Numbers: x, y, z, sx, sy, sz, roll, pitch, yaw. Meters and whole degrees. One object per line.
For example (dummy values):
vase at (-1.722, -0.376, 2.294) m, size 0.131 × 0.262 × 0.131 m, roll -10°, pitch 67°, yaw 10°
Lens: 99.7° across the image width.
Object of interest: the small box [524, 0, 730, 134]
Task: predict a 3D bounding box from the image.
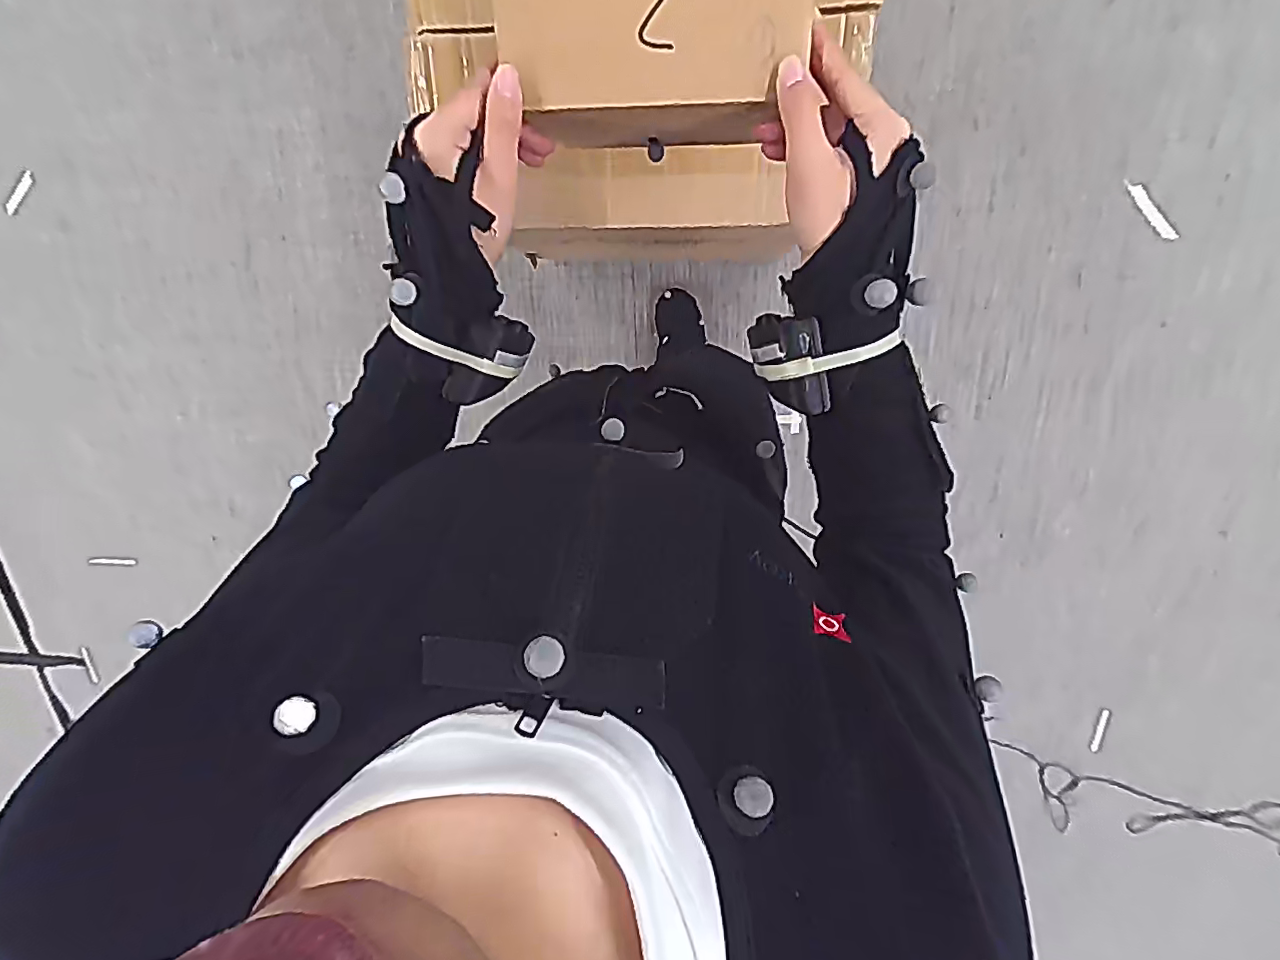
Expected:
small box at (-0.004, -0.448, 0.518) m, size 0.179 × 0.176 × 0.168 m, roll 2°, pitch 109°, yaw 5°
